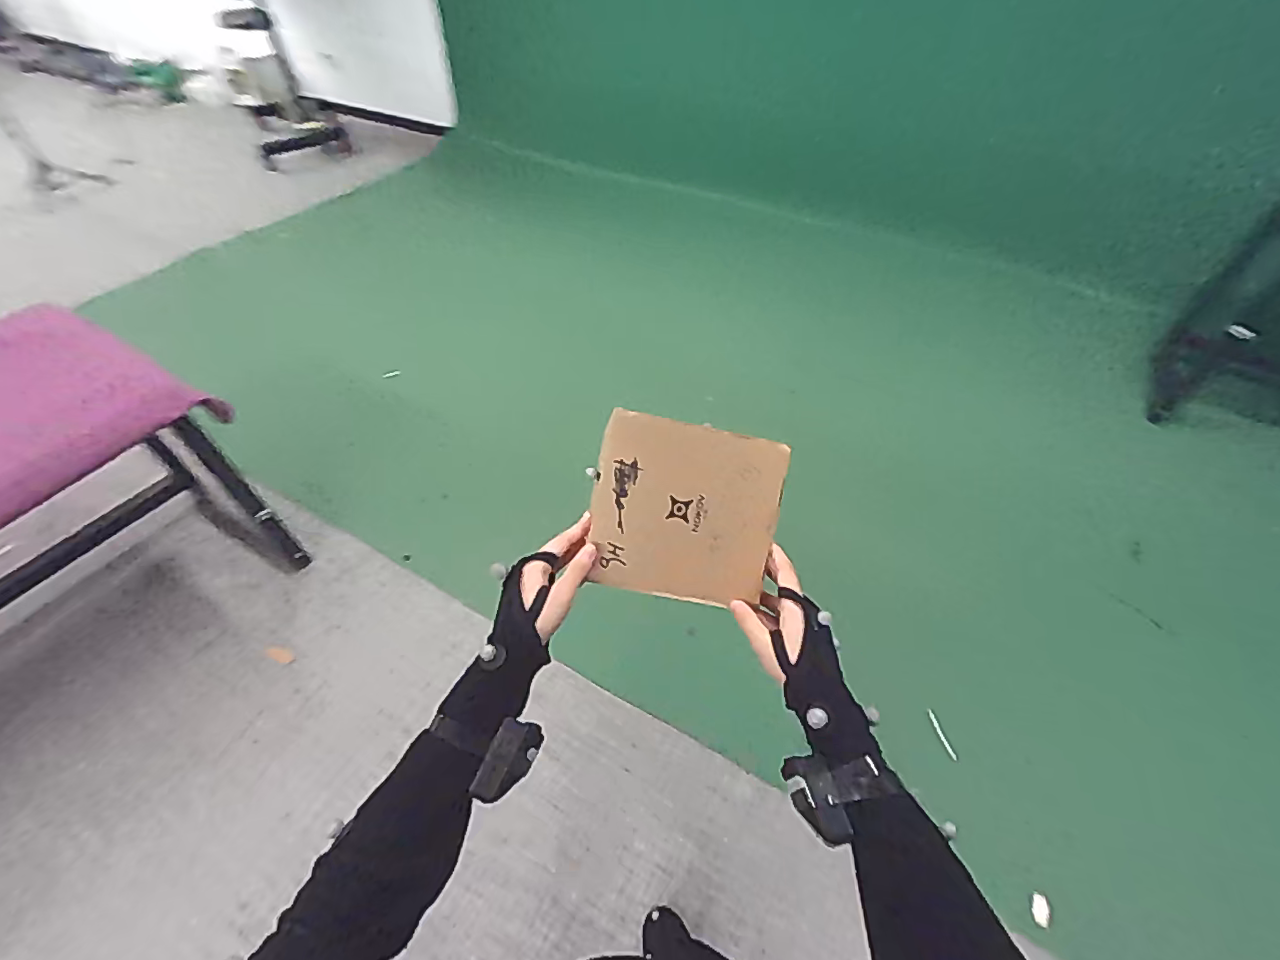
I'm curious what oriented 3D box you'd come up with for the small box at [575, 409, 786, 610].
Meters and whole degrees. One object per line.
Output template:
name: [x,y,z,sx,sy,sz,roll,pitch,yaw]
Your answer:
small box: [0.031,0.030,0.588,0.179,0.176,0.168,11,88,-7]
